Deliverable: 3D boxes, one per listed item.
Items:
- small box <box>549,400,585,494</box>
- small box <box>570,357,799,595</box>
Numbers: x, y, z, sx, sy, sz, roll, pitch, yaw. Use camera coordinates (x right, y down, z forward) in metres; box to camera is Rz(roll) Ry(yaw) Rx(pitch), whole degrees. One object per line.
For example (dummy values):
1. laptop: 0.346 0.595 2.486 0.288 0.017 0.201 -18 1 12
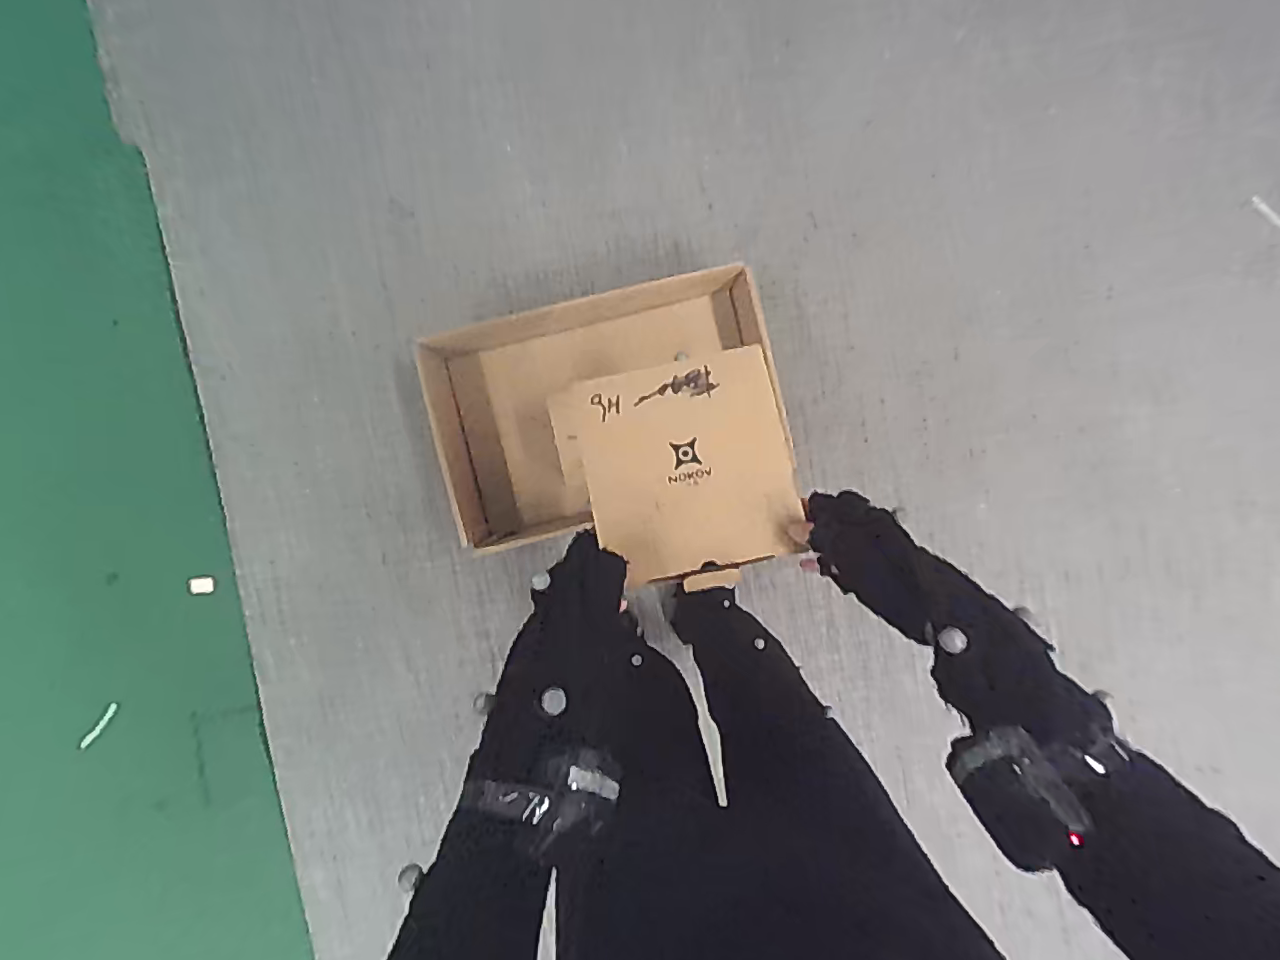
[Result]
1. small box: -0.062 -0.072 1.033 0.179 0.176 0.168 -12 91 0
2. small box: 0.038 0.005 0.525 0.168 0.176 0.179 -11 82 0
